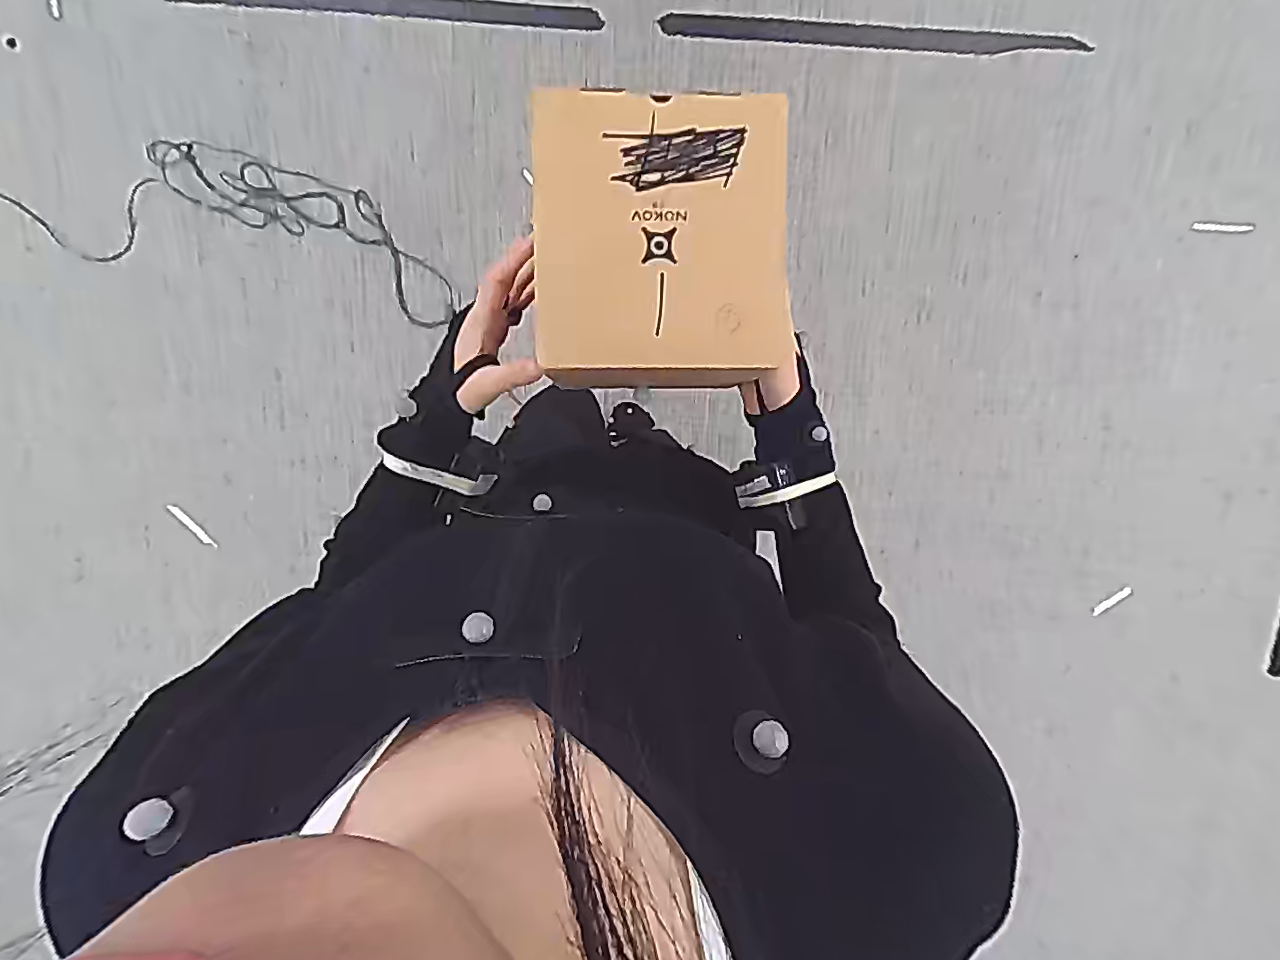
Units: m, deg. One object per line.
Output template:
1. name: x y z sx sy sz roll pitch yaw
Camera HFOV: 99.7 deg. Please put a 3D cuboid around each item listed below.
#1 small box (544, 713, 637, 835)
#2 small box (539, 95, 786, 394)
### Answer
1. small box: -0.103 0.634 1.182 0.179 0.176 0.168 7 98 -2
2. small box: 0.010 -0.166 0.437 0.168 0.176 0.179 0 95 -3
